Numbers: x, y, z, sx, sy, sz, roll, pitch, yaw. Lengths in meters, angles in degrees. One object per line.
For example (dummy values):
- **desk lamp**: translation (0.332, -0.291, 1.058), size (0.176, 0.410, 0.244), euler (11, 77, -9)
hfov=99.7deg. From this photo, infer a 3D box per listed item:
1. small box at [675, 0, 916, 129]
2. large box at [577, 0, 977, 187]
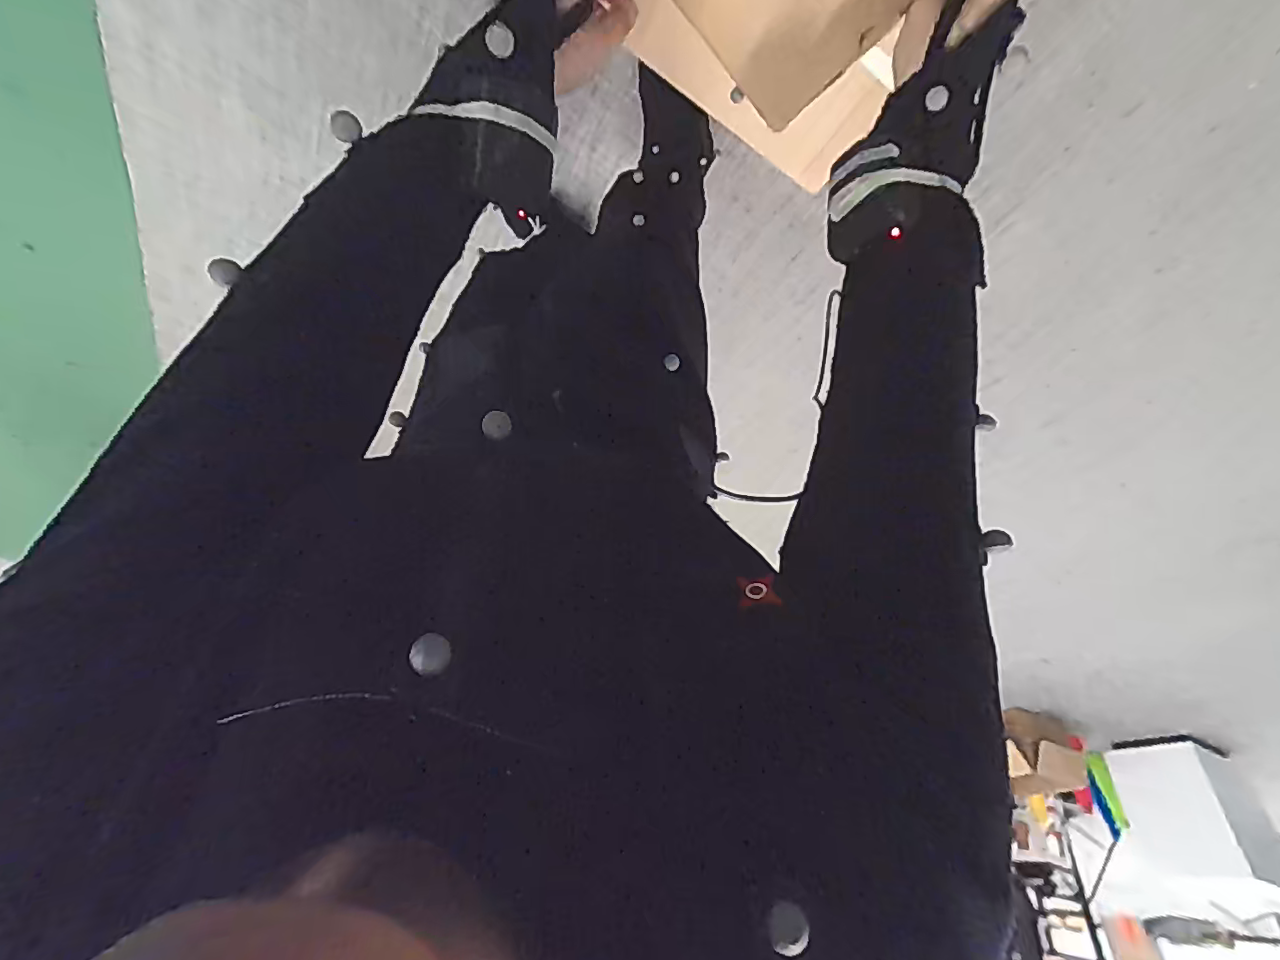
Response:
- **small box**: translation (0.112, -0.418, 0.401), size (0.179, 0.176, 0.168), euler (34, 135, -28)
- **large box**: translation (0.181, -0.688, 0.704), size (0.408, 0.320, 0.320), euler (25, 139, -19)
